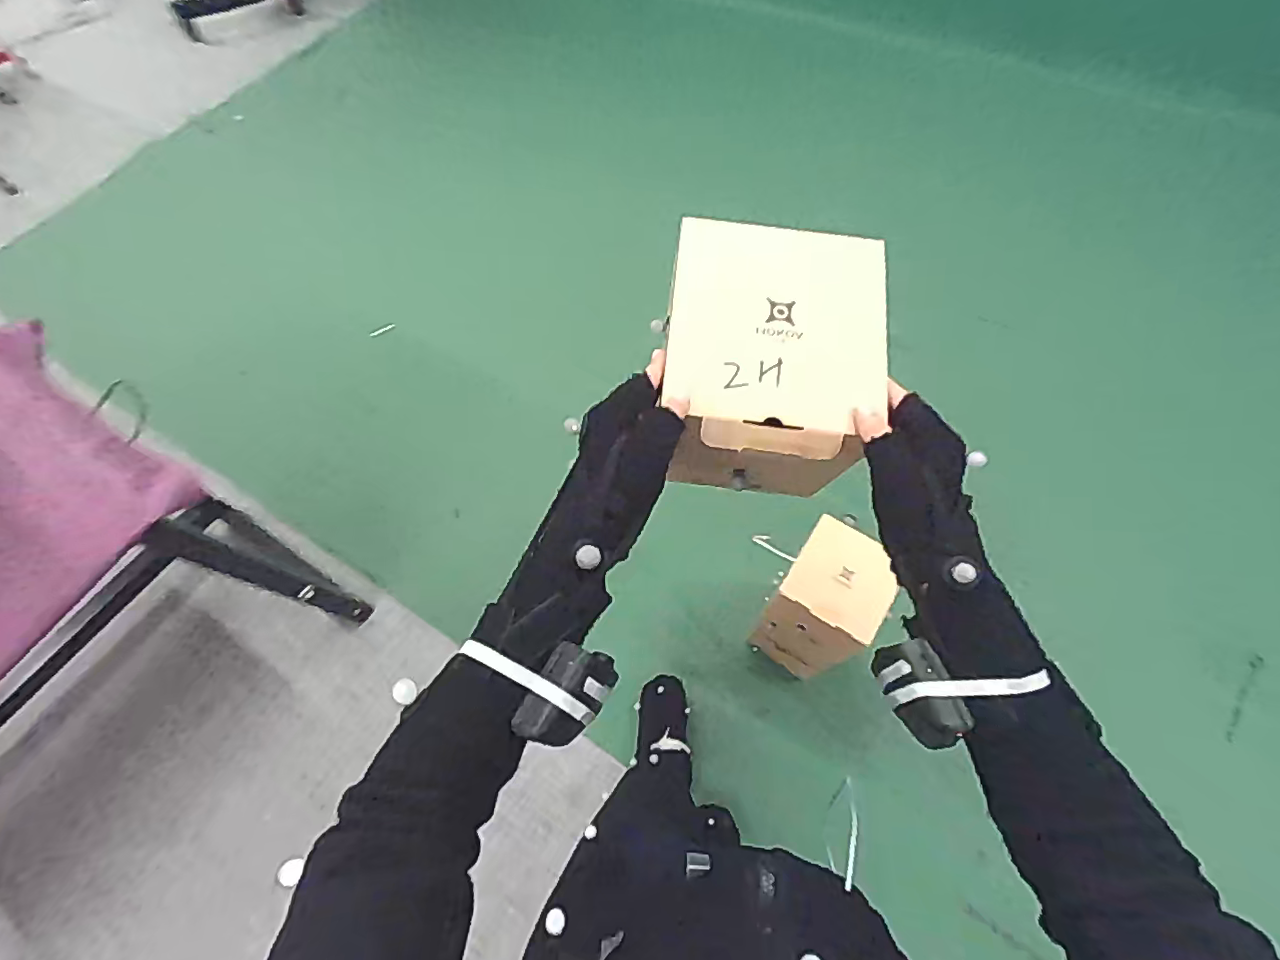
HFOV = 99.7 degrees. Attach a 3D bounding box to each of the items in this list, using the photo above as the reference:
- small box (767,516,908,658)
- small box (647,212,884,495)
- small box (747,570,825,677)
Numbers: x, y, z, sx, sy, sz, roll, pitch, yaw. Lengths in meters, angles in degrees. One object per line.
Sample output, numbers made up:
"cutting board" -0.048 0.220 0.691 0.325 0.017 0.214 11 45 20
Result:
"small box" 0.353 0.203 0.997 0.168 0.176 0.179 31 69 16
"small box" 0.098 -0.098 0.482 0.168 0.176 0.179 7 74 0
"small box" 0.367 0.349 1.291 0.168 0.176 0.179 30 71 17
